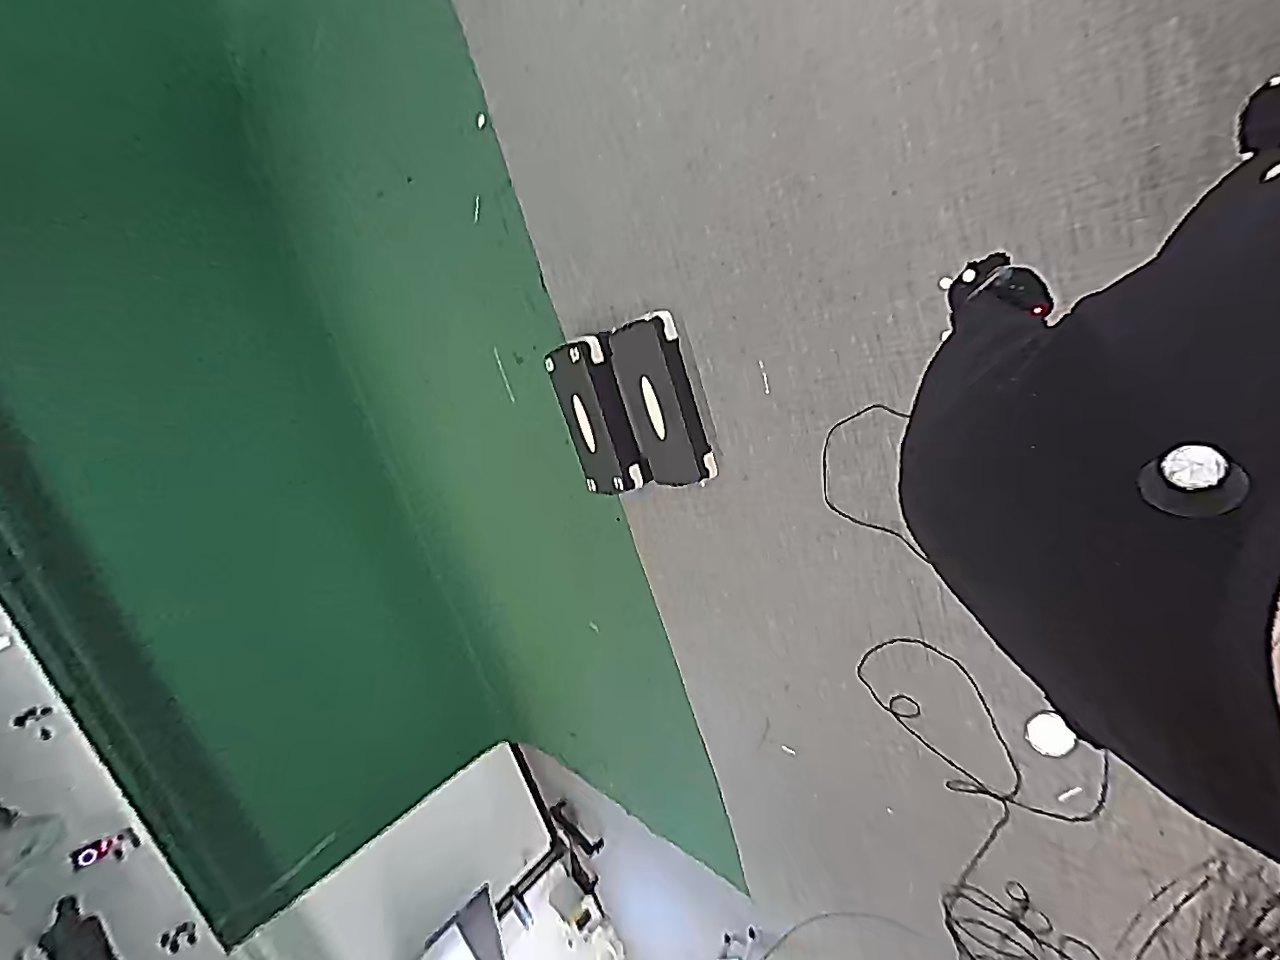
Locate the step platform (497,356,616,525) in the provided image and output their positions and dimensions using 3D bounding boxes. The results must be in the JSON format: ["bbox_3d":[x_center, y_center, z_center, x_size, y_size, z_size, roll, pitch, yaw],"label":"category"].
[{"bbox_3d":[-0.340,-0.161,2.238,0.286,0.204,0.684,-4,110,48],"label":"step platform"}]
